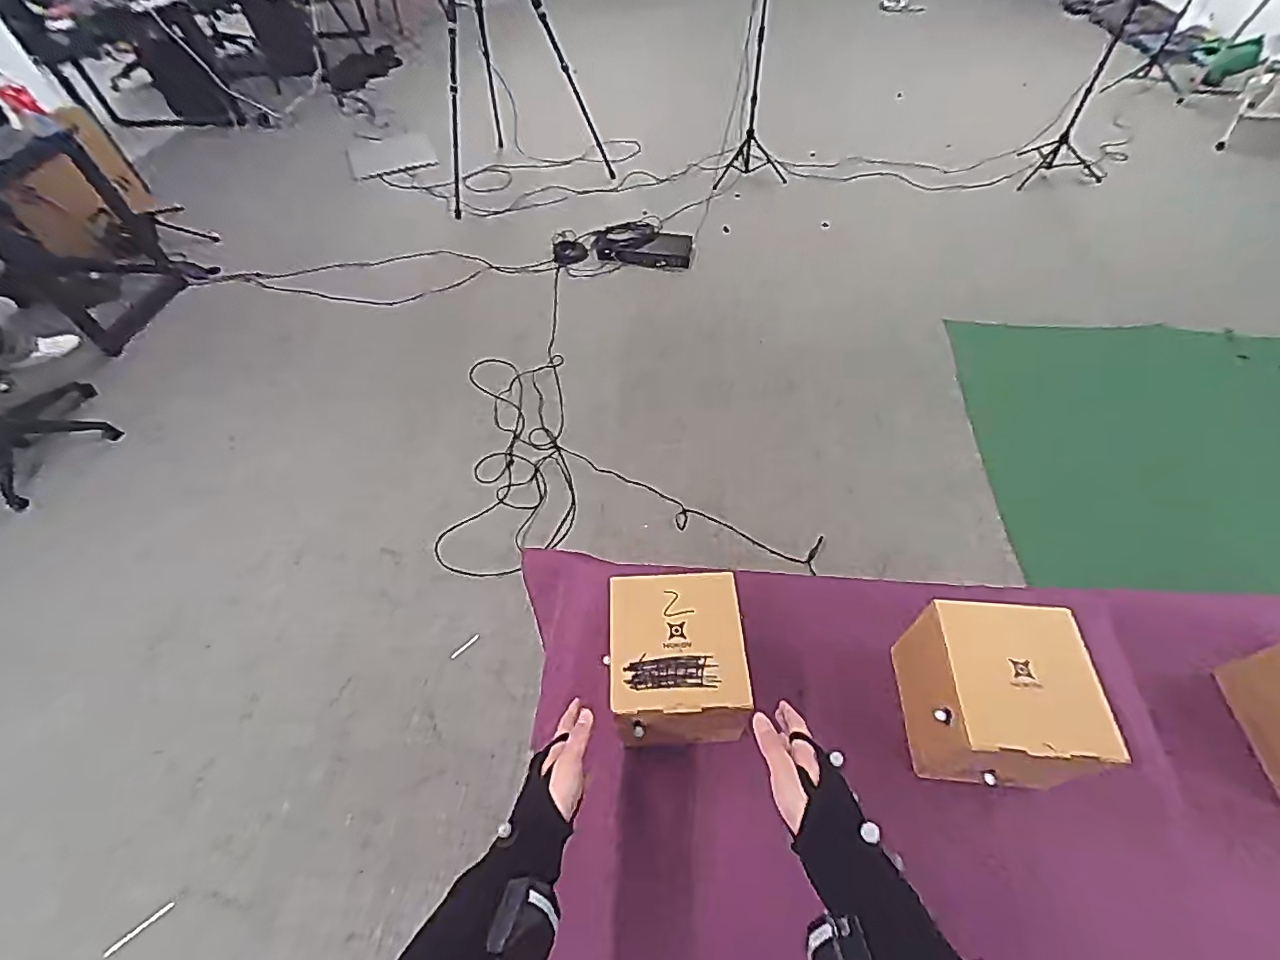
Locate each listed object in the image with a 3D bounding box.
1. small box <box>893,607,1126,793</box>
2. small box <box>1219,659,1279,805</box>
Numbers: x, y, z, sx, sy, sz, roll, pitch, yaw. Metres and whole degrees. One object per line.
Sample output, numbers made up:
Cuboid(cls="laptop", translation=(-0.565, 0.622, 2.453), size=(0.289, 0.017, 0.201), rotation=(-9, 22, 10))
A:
Cuboid(cls="small box", translation=(0.445, 0.283, 0.692), size=(0.168, 0.176, 0.179), rotation=(4, 54, 4))
Cuboid(cls="small box", translation=(0.883, 0.310, 0.651), size=(0.168, 0.176, 0.179), rotation=(4, 53, 6))
